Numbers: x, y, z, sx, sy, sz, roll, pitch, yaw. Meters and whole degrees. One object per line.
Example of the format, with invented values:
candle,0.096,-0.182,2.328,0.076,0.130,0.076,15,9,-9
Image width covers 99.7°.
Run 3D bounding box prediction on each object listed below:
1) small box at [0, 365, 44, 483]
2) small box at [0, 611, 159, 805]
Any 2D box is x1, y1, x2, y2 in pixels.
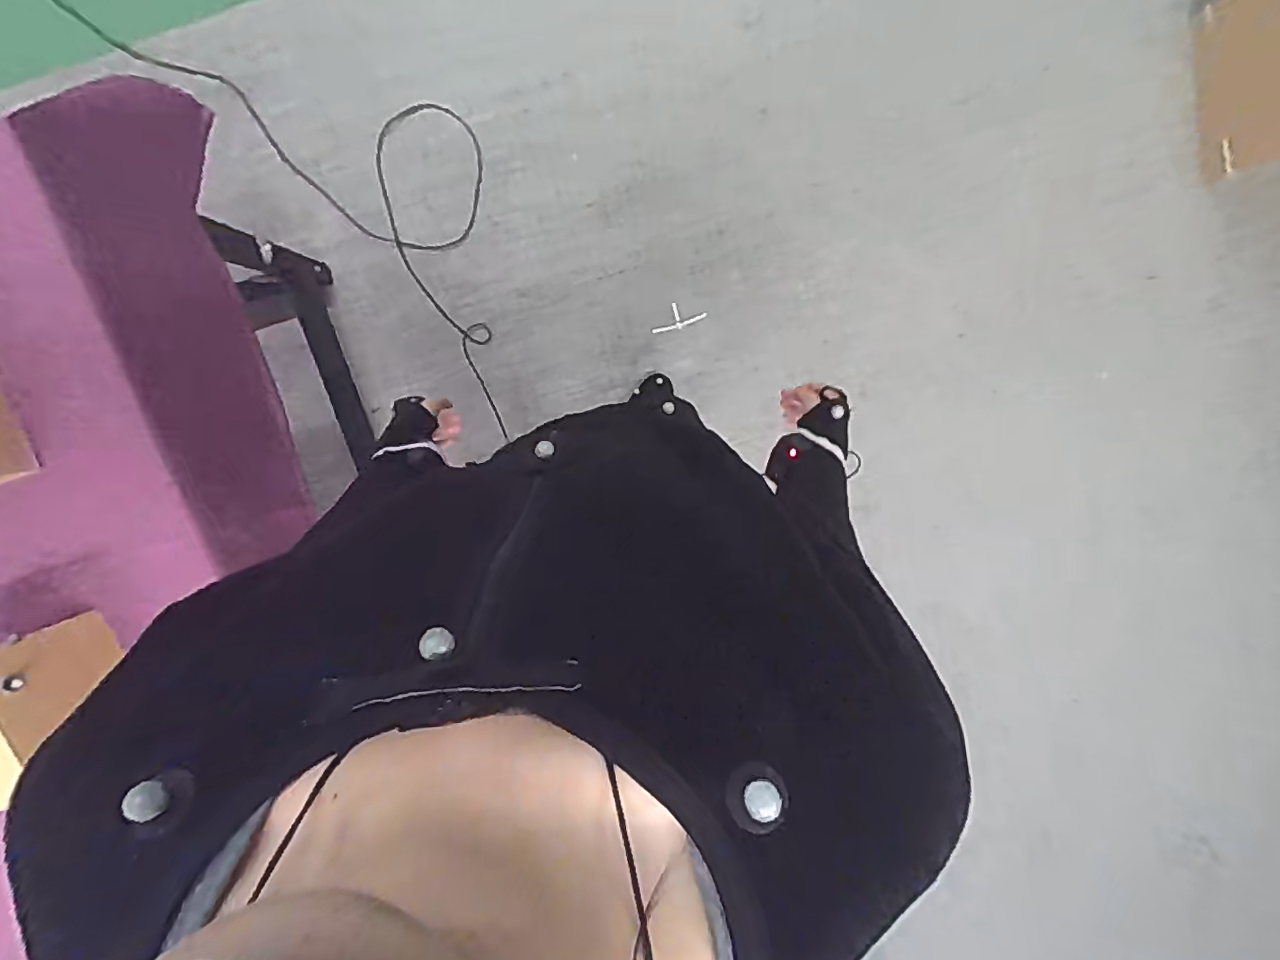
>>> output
small box,-0.909,-0.060,0.655,0.168,0.176,0.179,-15,100,1
small box,-0.815,0.305,0.725,0.168,0.176,0.179,-20,99,3
